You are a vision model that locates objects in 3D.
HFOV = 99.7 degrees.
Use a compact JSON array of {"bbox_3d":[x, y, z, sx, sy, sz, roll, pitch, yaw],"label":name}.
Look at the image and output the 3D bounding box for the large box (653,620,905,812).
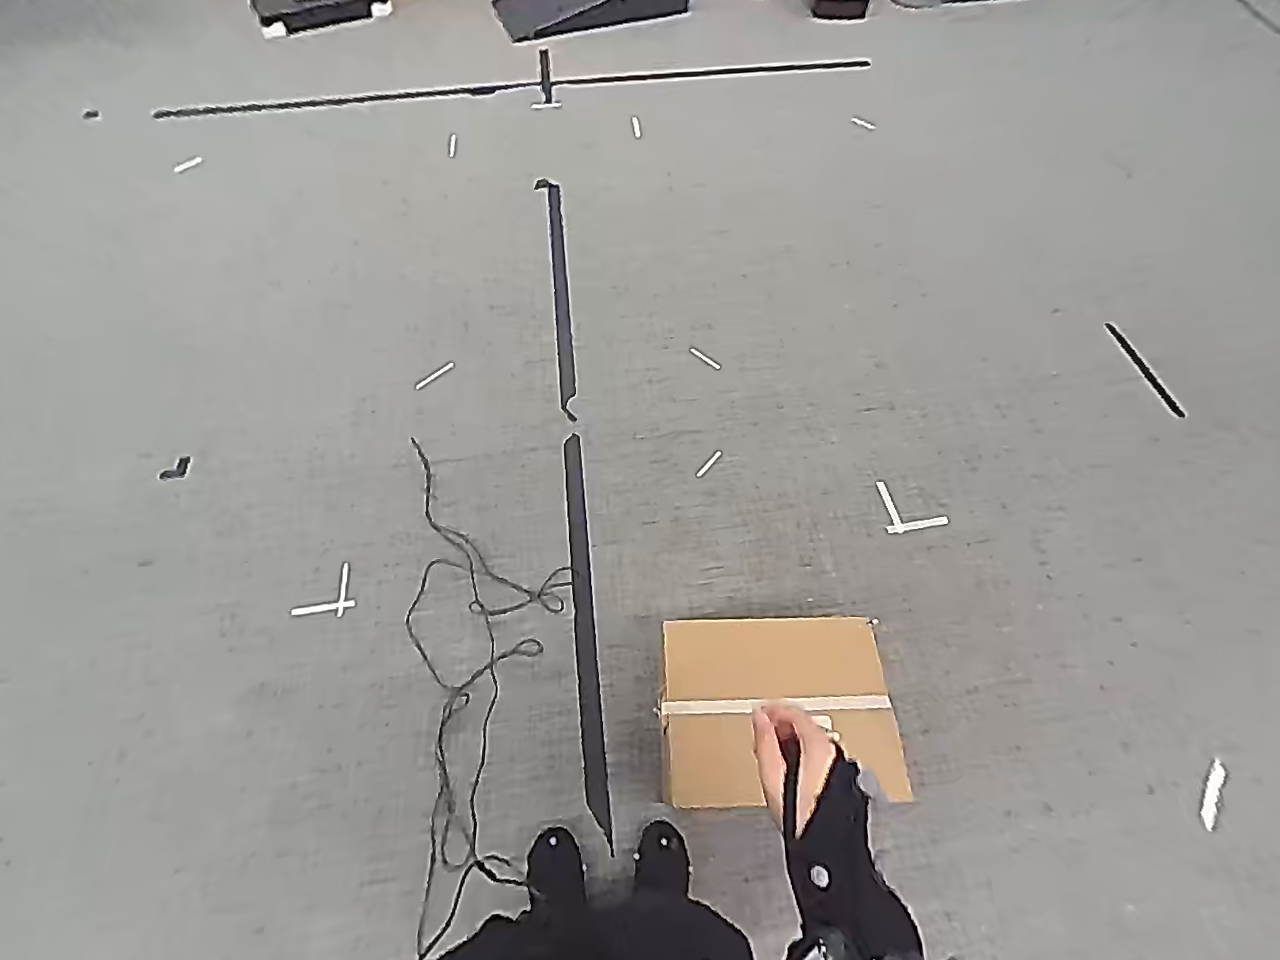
[{"bbox_3d":[0.239,0.482,1.098,0.408,0.320,0.320,0,61,-2],"label":"large box"}]
